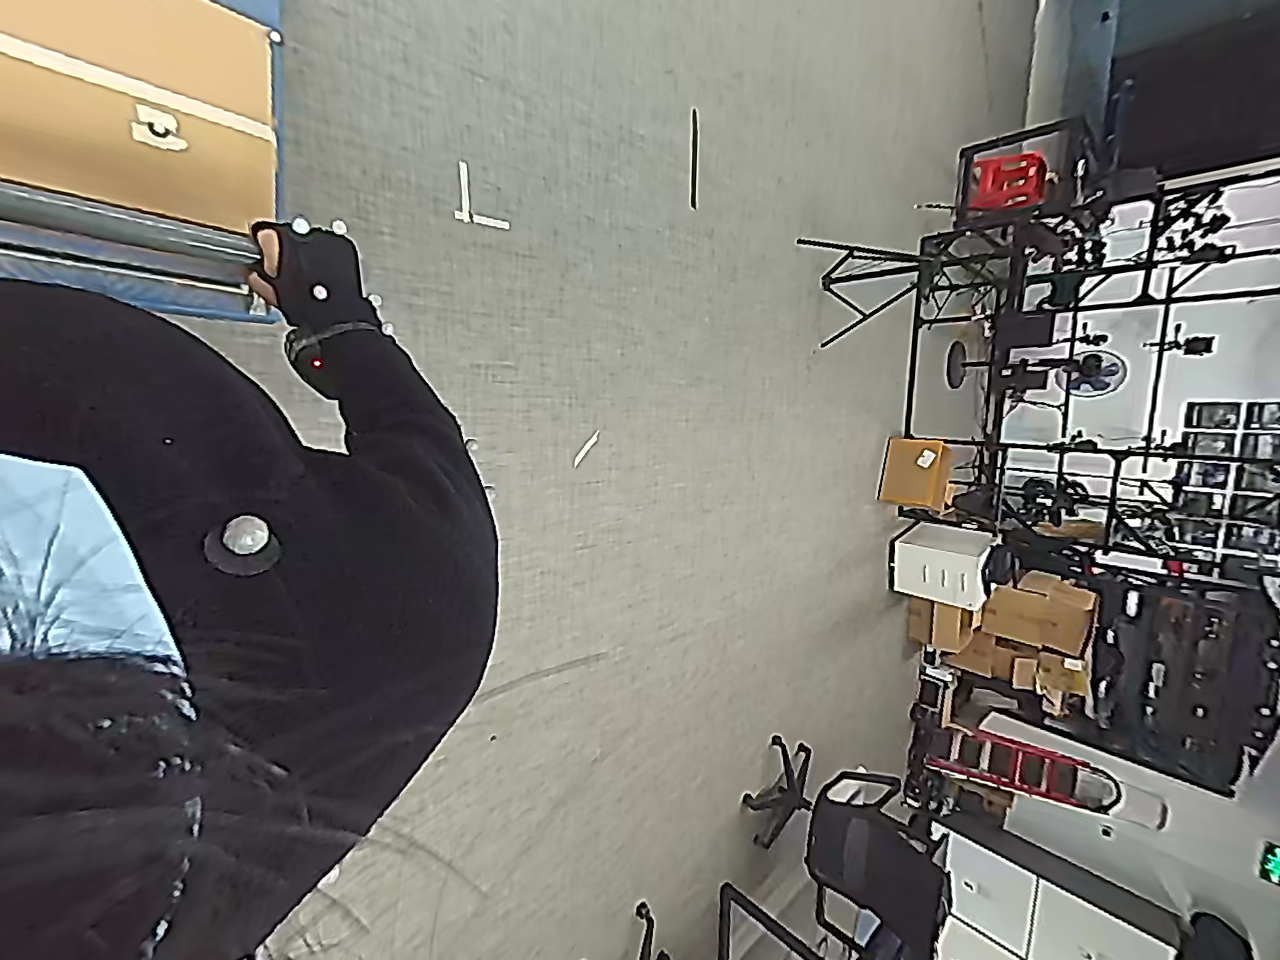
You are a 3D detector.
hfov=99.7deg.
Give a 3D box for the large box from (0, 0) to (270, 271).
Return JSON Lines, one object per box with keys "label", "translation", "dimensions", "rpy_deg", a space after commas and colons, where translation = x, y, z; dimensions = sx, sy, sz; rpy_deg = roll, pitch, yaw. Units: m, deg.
{"label": "large box", "translation": [-0.826, -0.532, 0.800], "dimensions": [0.408, 0.320, 0.320], "rpy_deg": [-3, 100, -46]}
